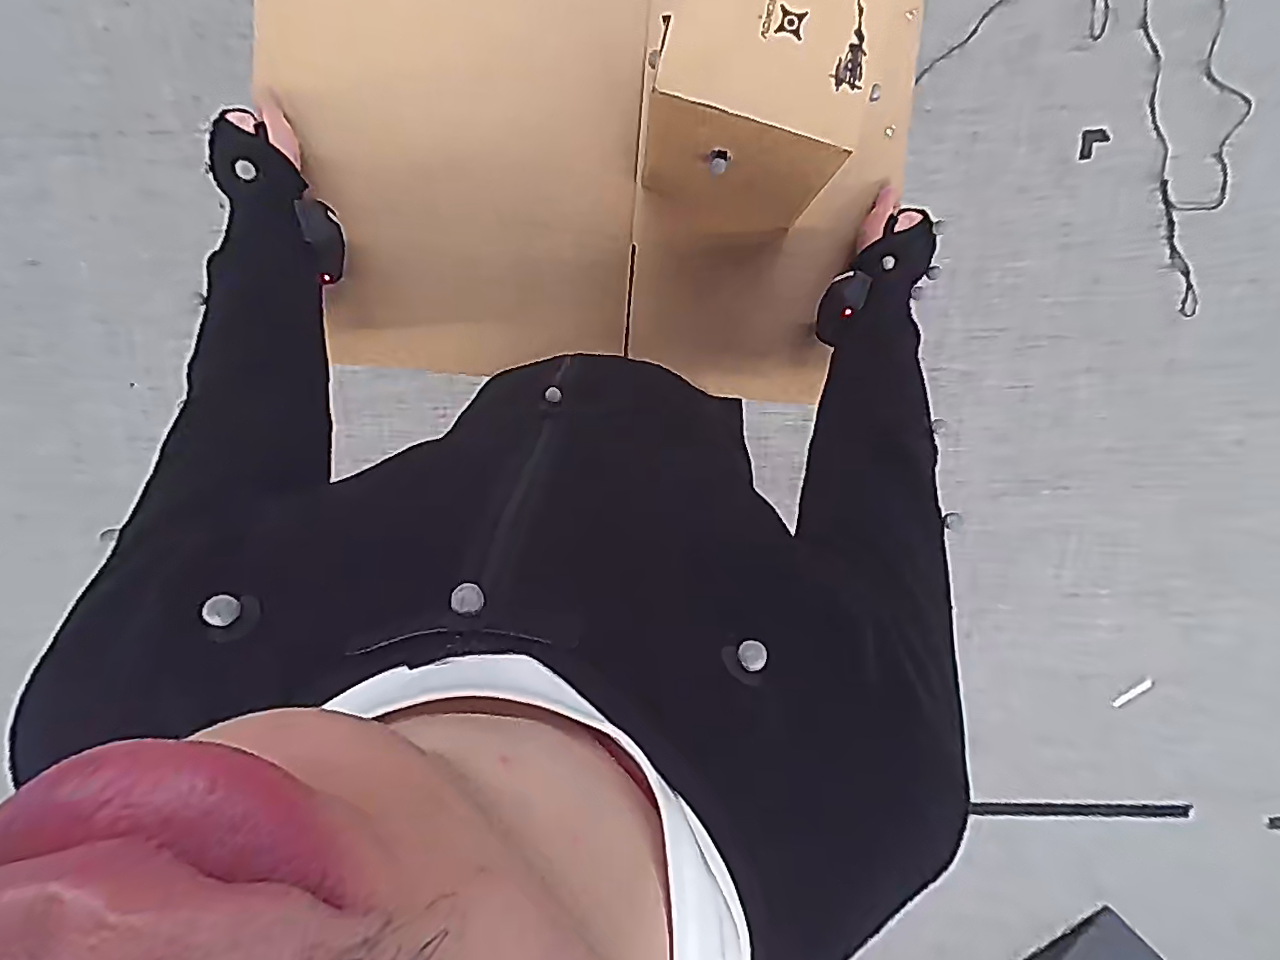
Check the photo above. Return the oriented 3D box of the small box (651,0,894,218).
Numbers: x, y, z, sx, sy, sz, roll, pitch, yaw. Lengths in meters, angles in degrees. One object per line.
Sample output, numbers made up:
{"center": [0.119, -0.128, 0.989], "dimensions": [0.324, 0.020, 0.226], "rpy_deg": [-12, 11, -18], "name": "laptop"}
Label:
{"center": [0.113, -0.381, 0.521], "dimensions": [0.179, 0.176, 0.168], "rpy_deg": [15, 94, -3], "name": "small box"}
